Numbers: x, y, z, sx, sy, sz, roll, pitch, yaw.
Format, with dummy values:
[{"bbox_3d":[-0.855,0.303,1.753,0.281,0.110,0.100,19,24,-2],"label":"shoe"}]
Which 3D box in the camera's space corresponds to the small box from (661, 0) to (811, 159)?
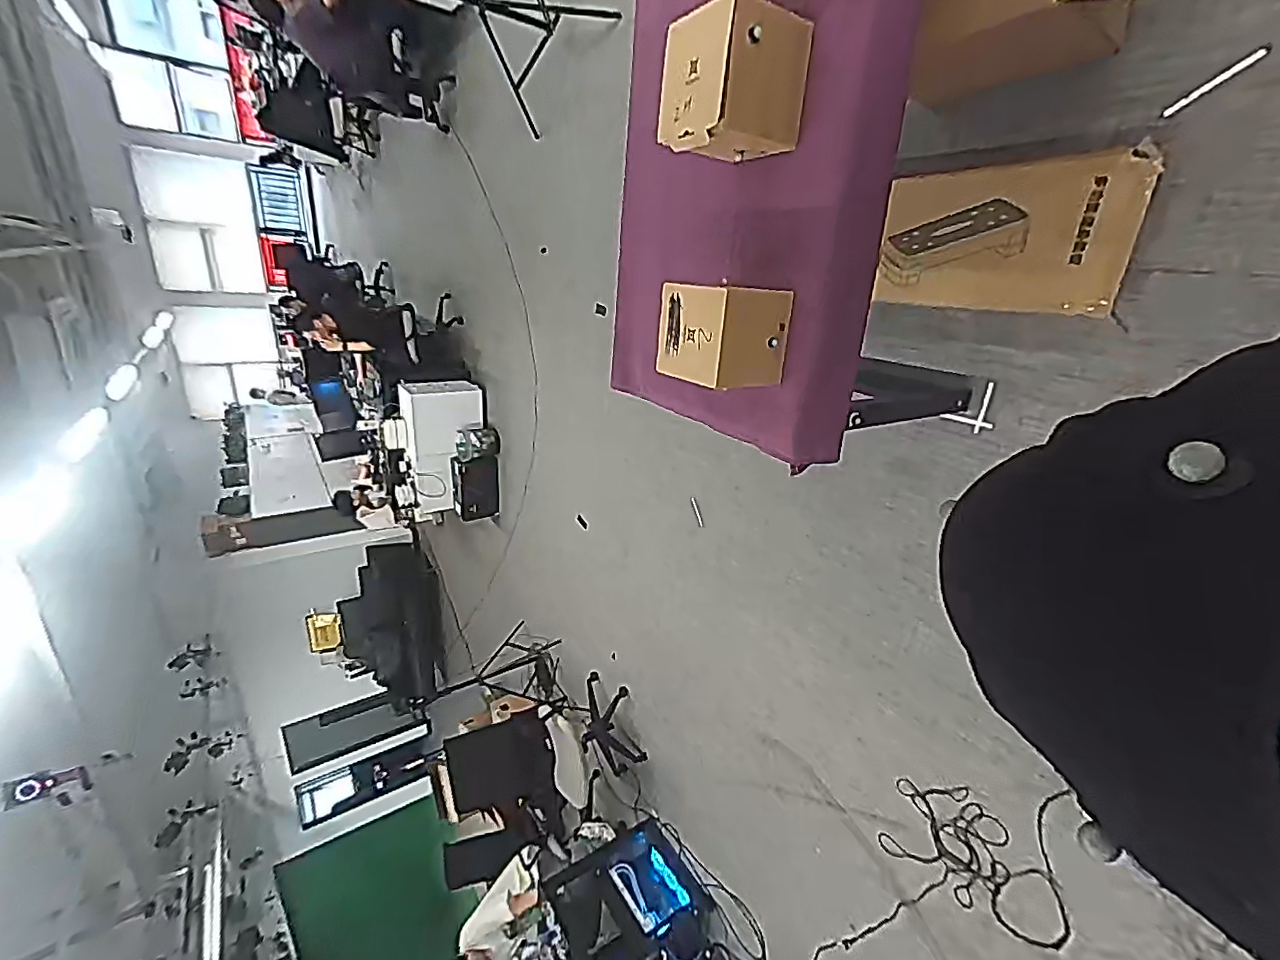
[{"bbox_3d":[0.155,-0.649,0.885,0.168,0.176,0.179,31,124,51],"label":"small box"}]
